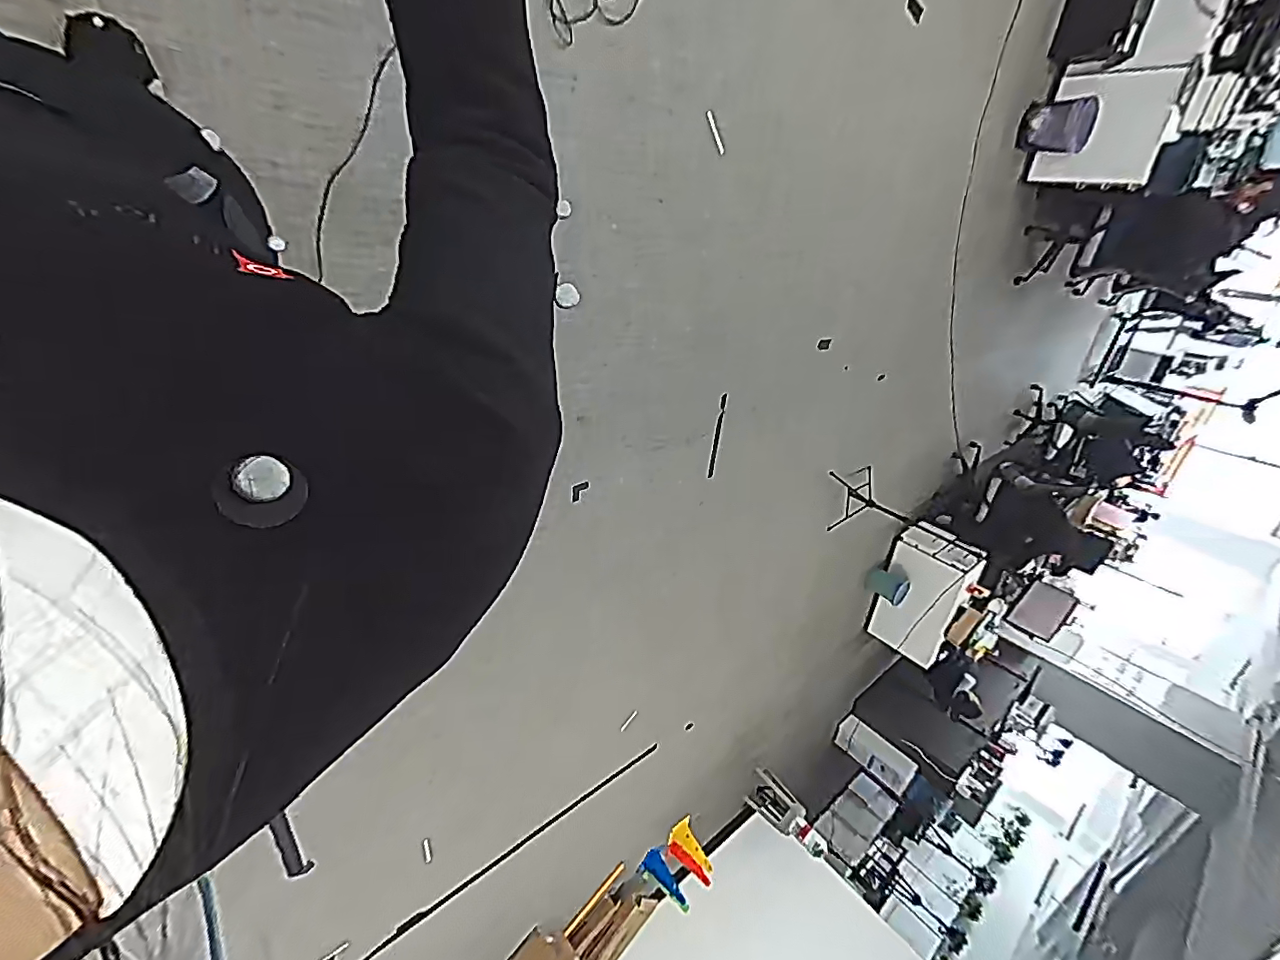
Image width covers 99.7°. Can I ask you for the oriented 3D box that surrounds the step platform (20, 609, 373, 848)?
[{"bbox_3d":[-1.066,0.603,1.387,0.684,0.204,0.286,-17,124,-34],"label":"step platform"}]
